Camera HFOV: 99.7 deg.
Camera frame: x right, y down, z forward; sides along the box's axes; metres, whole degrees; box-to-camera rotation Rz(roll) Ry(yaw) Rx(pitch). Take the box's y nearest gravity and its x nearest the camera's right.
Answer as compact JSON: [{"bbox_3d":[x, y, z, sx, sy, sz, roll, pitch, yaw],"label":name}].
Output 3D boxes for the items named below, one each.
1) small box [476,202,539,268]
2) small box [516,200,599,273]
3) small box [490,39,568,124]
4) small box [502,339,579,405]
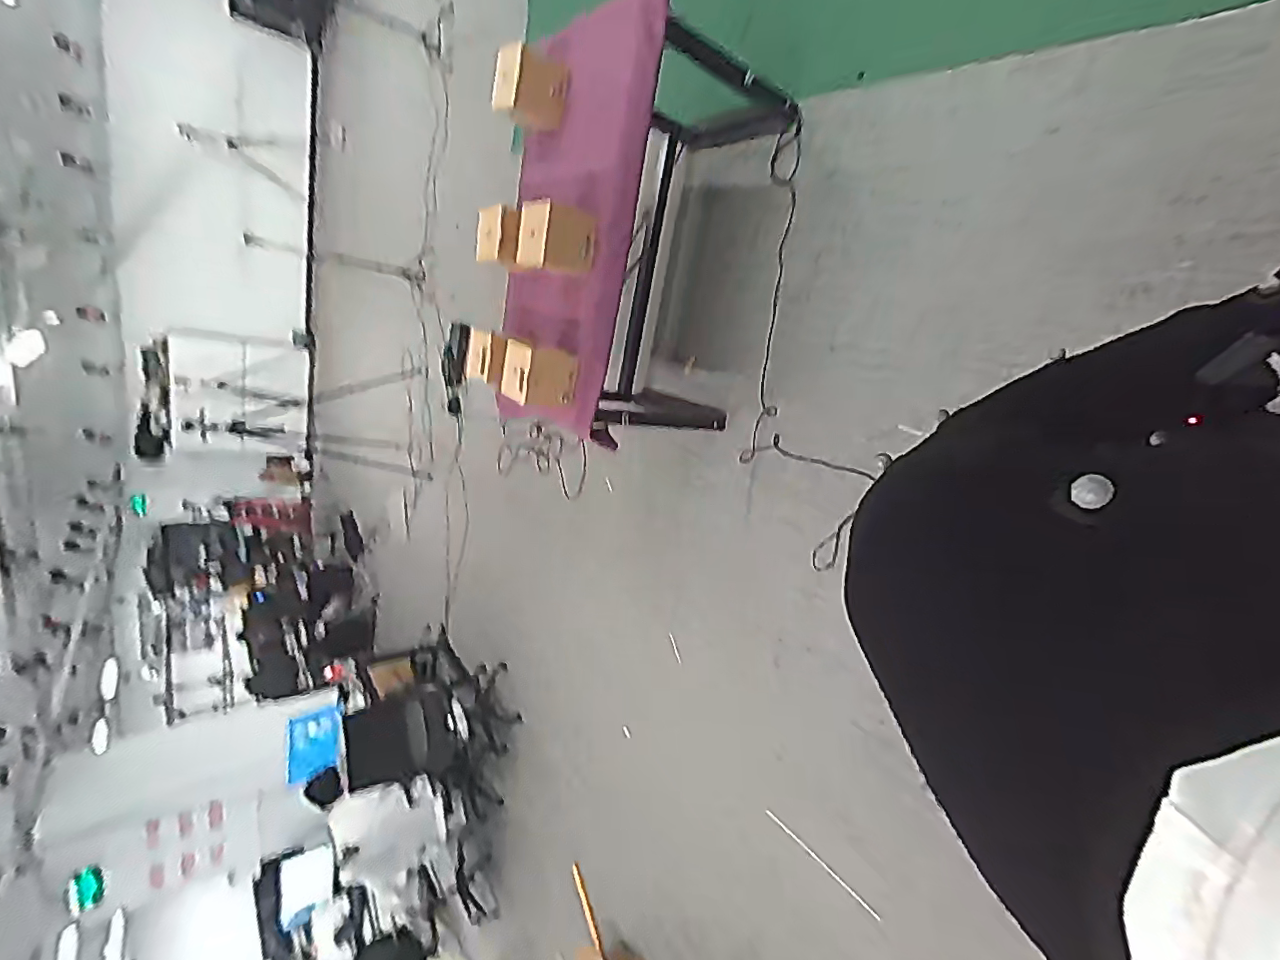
[{"bbox_3d":[-0.438,-0.824,1.837,0.179,0.176,0.168,21,107,46],"label":"small box"},{"bbox_3d":[-0.246,-0.722,1.612,0.179,0.176,0.168,29,114,46],"label":"small box"},{"bbox_3d":[-0.352,-1.251,1.711,0.179,0.176,0.168,35,118,43],"label":"small box"},{"bbox_3d":[-0.314,-0.339,1.705,0.179,0.176,0.168,32,115,46],"label":"small box"}]
